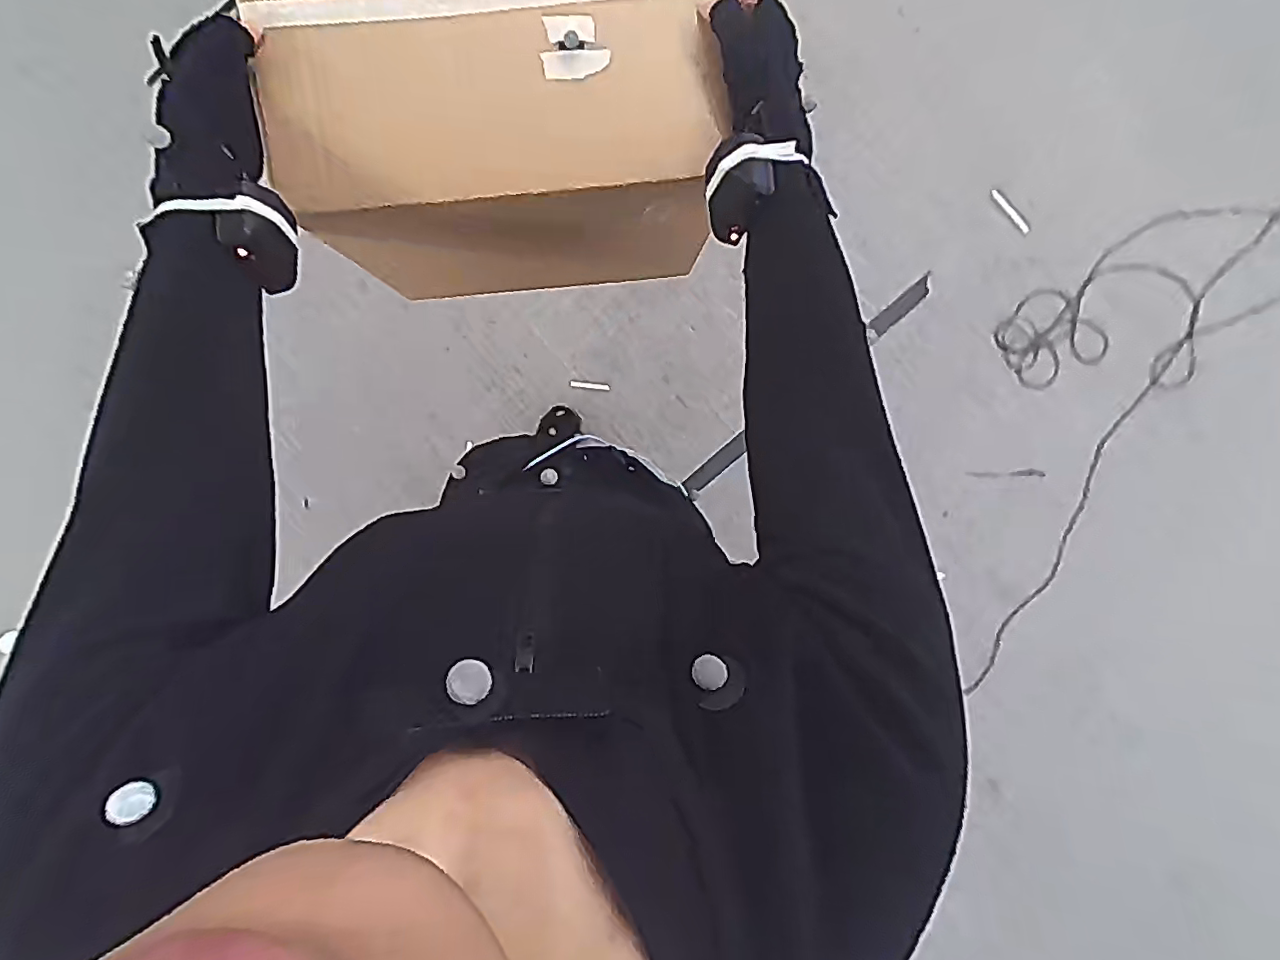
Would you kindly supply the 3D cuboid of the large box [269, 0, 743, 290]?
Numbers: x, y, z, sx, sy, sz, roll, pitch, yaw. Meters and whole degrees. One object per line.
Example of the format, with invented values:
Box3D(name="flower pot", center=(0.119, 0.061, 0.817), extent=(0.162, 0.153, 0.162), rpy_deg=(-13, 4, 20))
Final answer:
Box3D(name="large box", center=(-0.128, -0.427, 0.615), extent=(0.408, 0.320, 0.320), rpy_deg=(-6, 96, -3))
